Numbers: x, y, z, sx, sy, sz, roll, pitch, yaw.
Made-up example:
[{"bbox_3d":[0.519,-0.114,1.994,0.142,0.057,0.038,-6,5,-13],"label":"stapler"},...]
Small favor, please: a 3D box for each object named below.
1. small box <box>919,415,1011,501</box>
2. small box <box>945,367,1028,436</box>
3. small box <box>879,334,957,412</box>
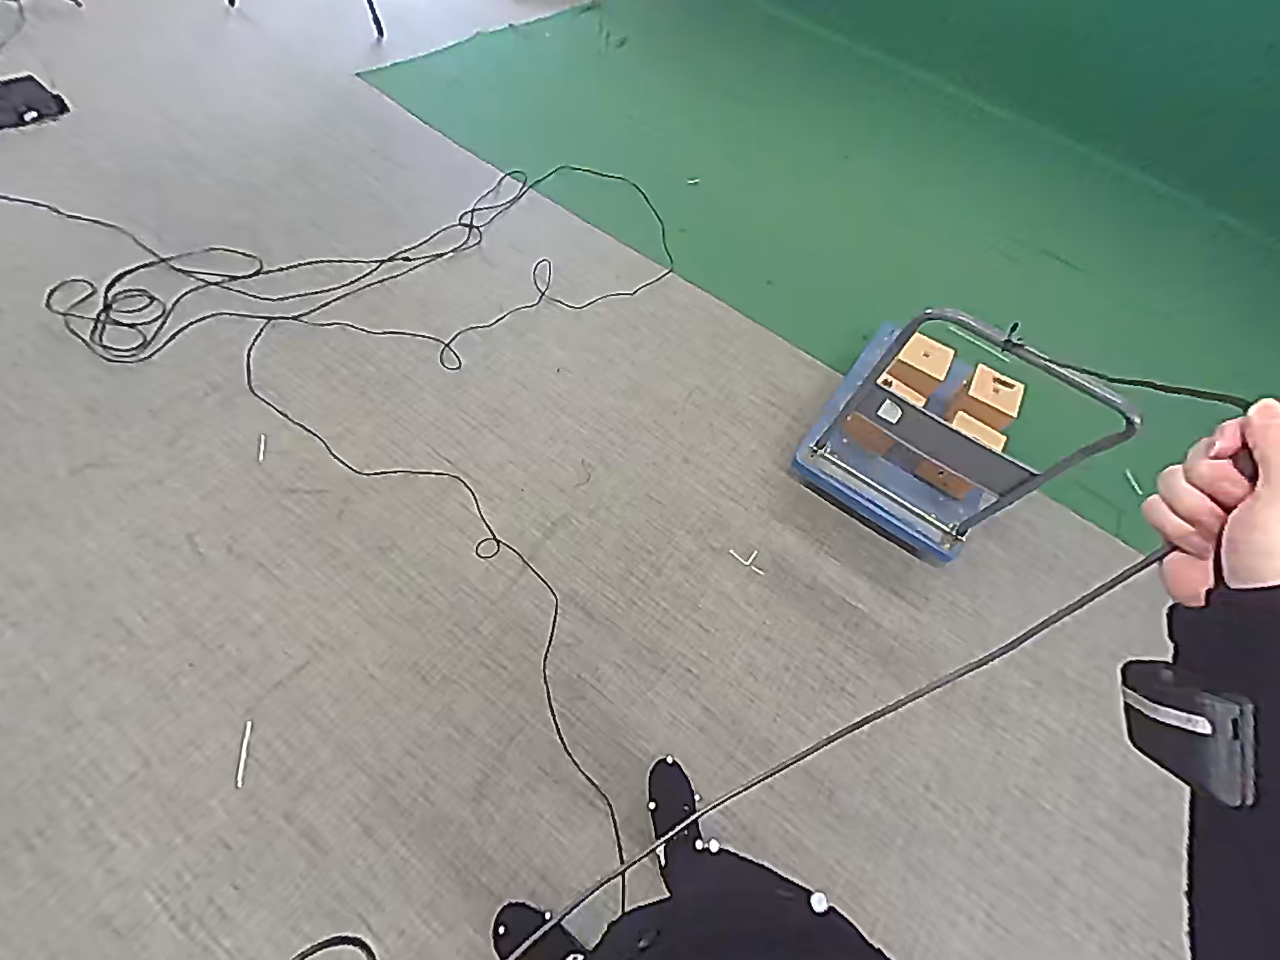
[{"bbox_3d":[1.034,-0.069,1.731,0.168,0.176,0.179,35,61,13],"label":"small box"},{"bbox_3d":[1.189,-0.247,1.863,0.168,0.176,0.179,31,60,11],"label":"small box"},{"bbox_3d":[0.975,-0.372,1.908,0.168,0.176,0.179,31,59,10],"label":"small box"}]
